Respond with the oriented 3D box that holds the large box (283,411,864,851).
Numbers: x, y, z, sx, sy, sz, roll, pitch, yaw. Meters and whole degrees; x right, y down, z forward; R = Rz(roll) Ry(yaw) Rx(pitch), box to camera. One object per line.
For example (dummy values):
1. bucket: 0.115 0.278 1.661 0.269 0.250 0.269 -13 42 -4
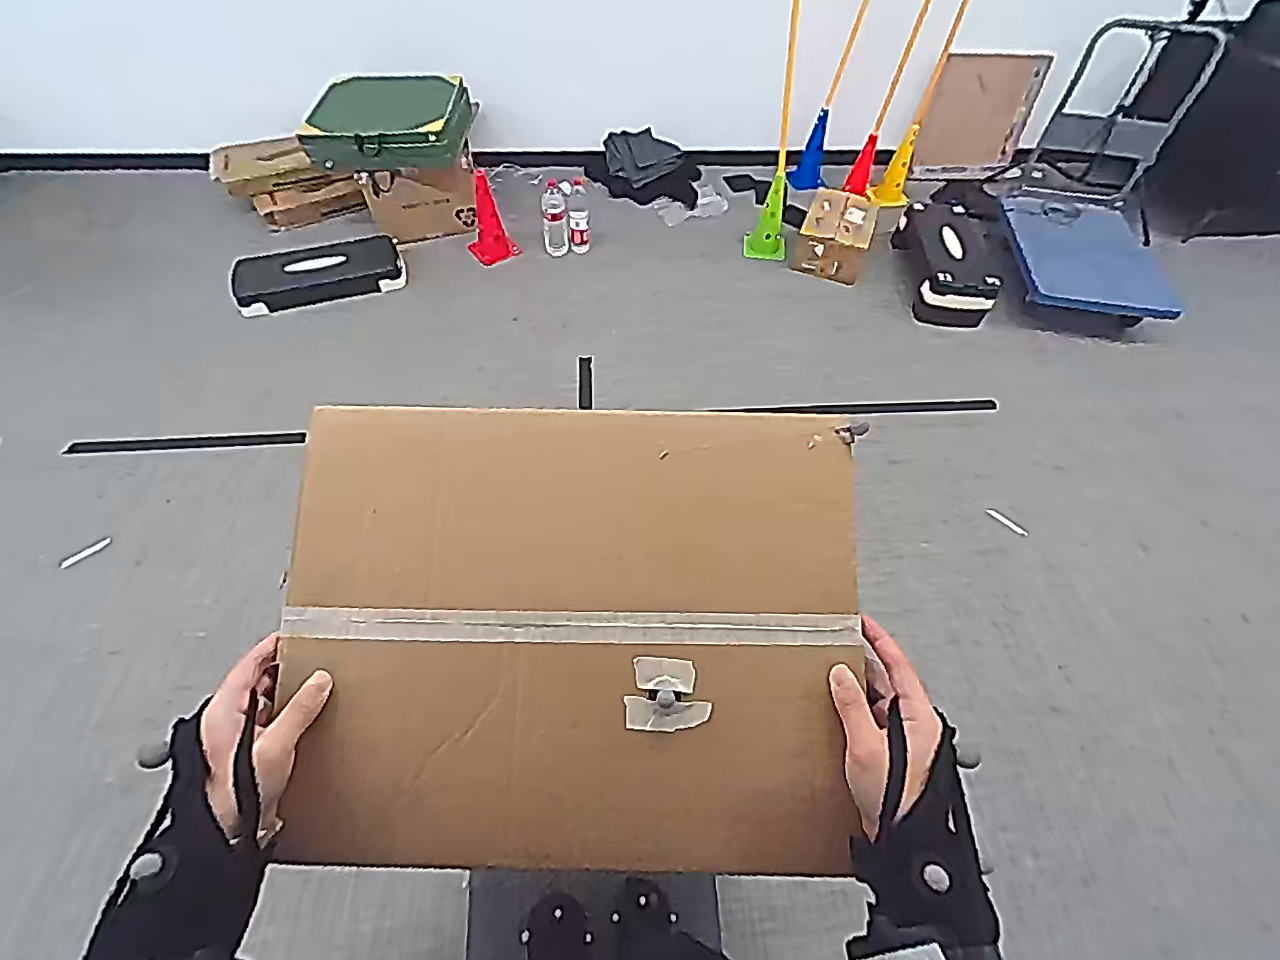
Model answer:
1. large box: -0.046 0.127 0.539 0.408 0.320 0.320 1 81 0
